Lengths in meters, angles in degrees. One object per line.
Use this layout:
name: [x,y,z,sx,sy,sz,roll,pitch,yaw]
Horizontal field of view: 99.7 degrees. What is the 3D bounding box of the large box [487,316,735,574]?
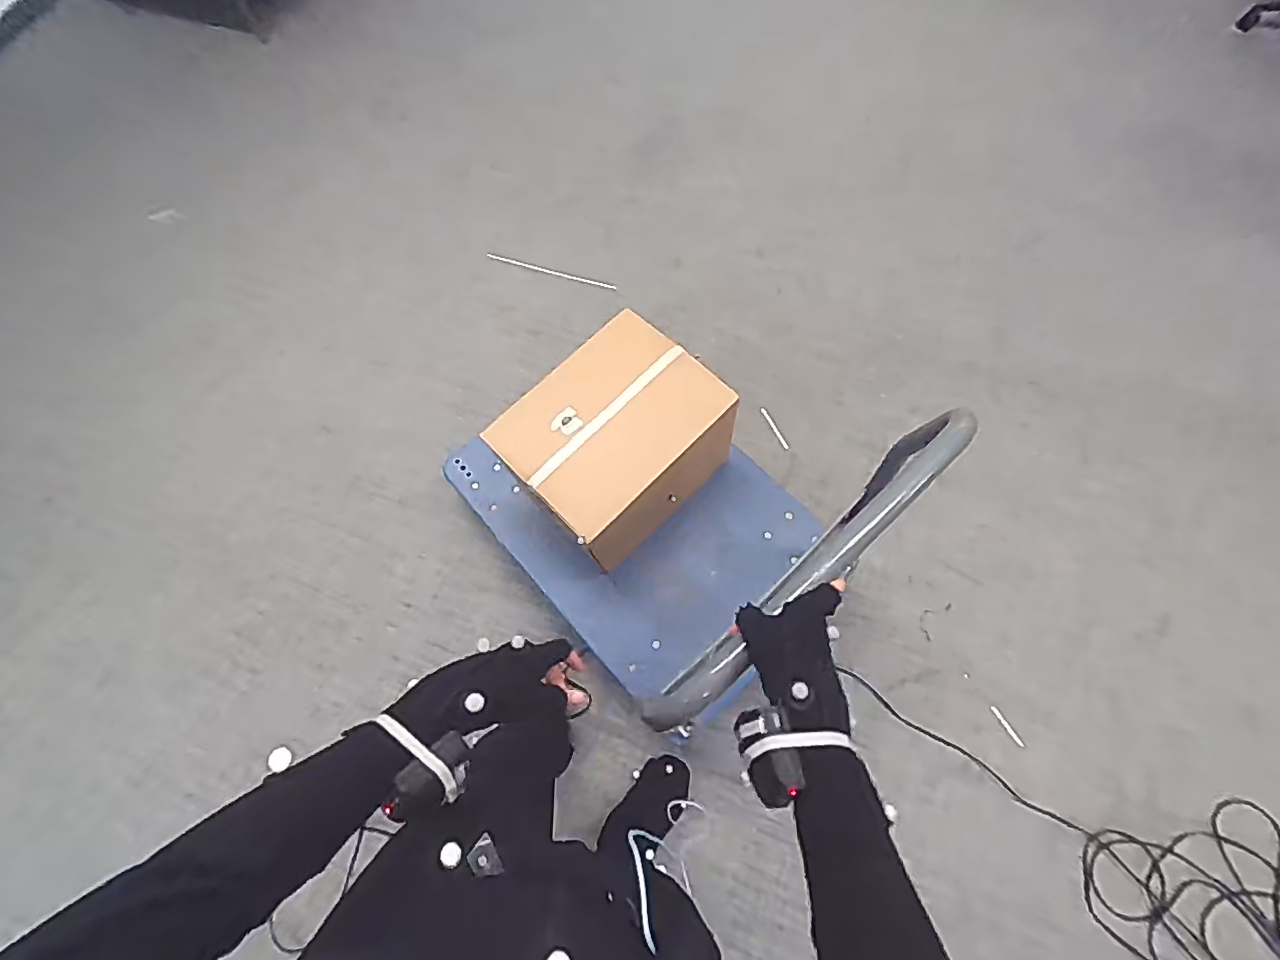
large box: [-0.044,-0.061,1.182,0.320,0.320,0.408,42,79,18]
